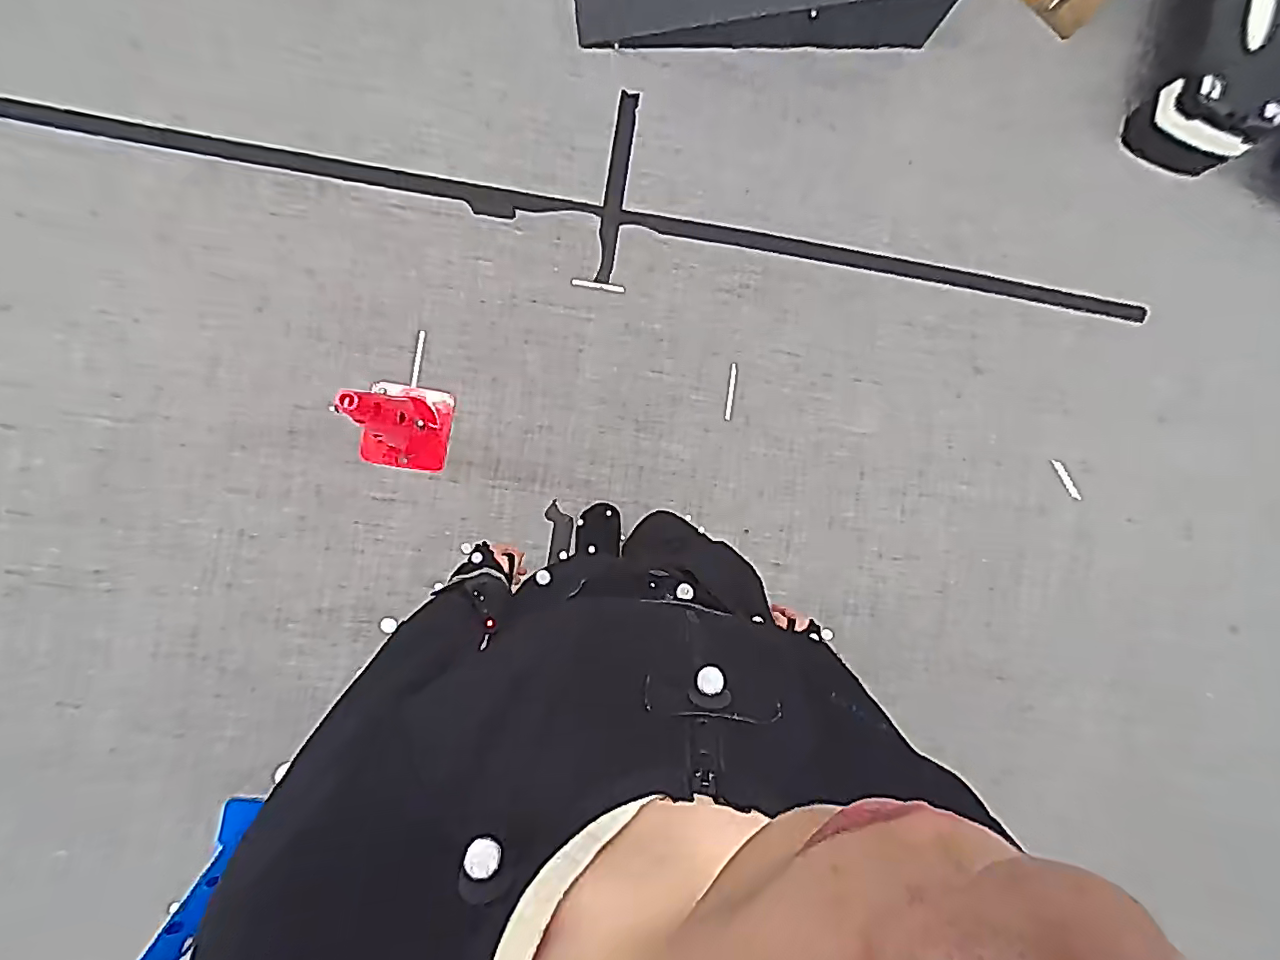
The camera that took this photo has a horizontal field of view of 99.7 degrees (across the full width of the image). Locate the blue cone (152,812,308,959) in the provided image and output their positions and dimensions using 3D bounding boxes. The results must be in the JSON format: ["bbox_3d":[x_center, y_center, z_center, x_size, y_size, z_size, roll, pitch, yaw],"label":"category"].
[{"bbox_3d":[-0.851,0.856,1.077,0.193,0.380,0.192,11,87,-6],"label":"blue cone"}]
